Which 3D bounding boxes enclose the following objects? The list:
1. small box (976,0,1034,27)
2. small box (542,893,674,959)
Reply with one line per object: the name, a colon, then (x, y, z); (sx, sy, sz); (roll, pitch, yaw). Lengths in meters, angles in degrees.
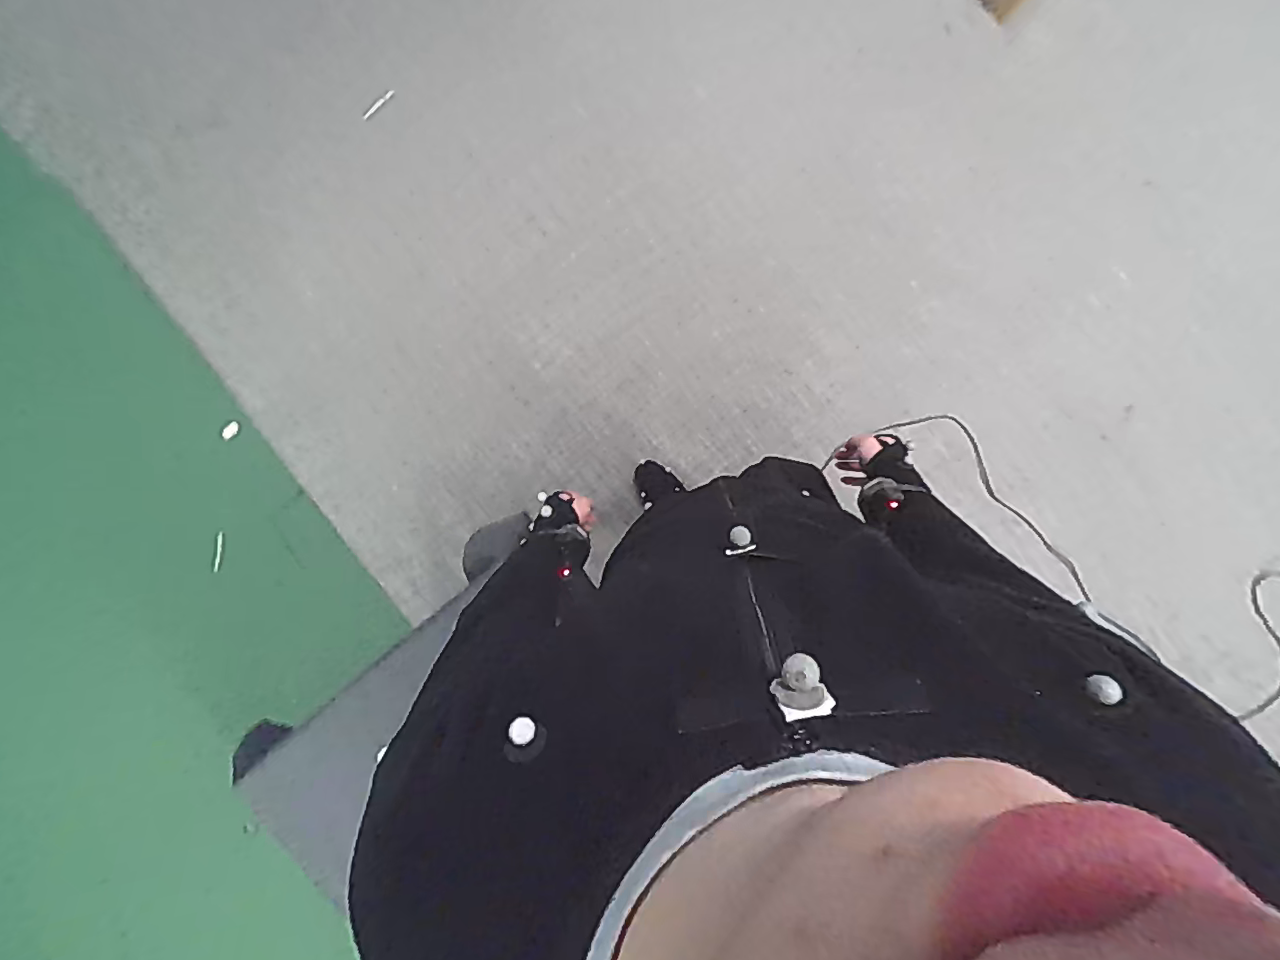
small box: (0.947, -1.286, 1.330); (0.179, 0.176, 0.168); (-40, 90, 5)
small box: (-0.051, 0.756, 0.774); (0.179, 0.176, 0.168); (-41, 89, 6)
